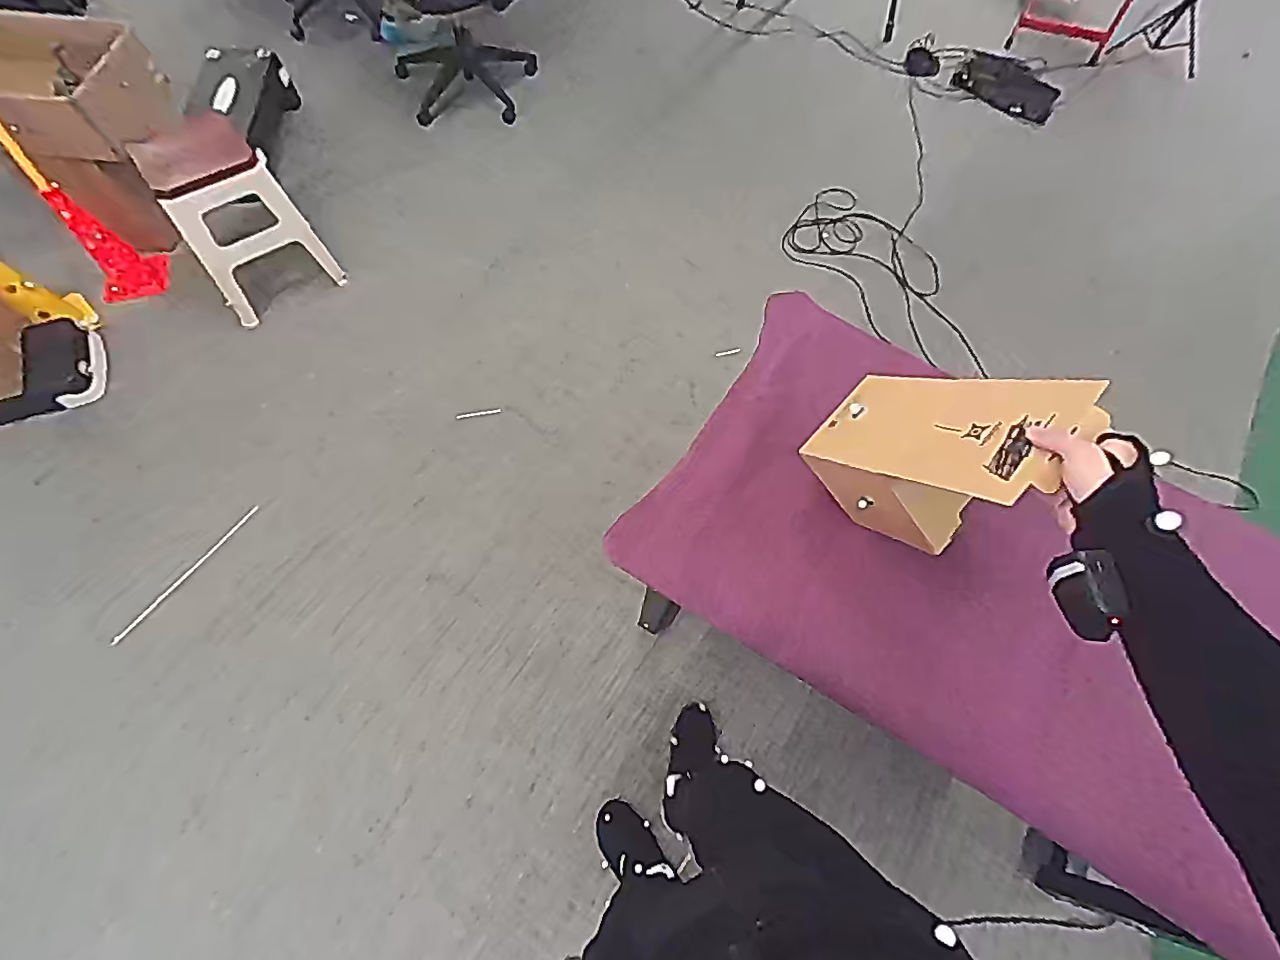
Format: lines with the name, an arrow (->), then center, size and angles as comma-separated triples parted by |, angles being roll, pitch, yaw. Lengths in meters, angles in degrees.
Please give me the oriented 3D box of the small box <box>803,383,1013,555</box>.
small box -> 0.377, -0.027, 0.780 | 0.168, 0.176, 0.179 | -47, 111, -5
